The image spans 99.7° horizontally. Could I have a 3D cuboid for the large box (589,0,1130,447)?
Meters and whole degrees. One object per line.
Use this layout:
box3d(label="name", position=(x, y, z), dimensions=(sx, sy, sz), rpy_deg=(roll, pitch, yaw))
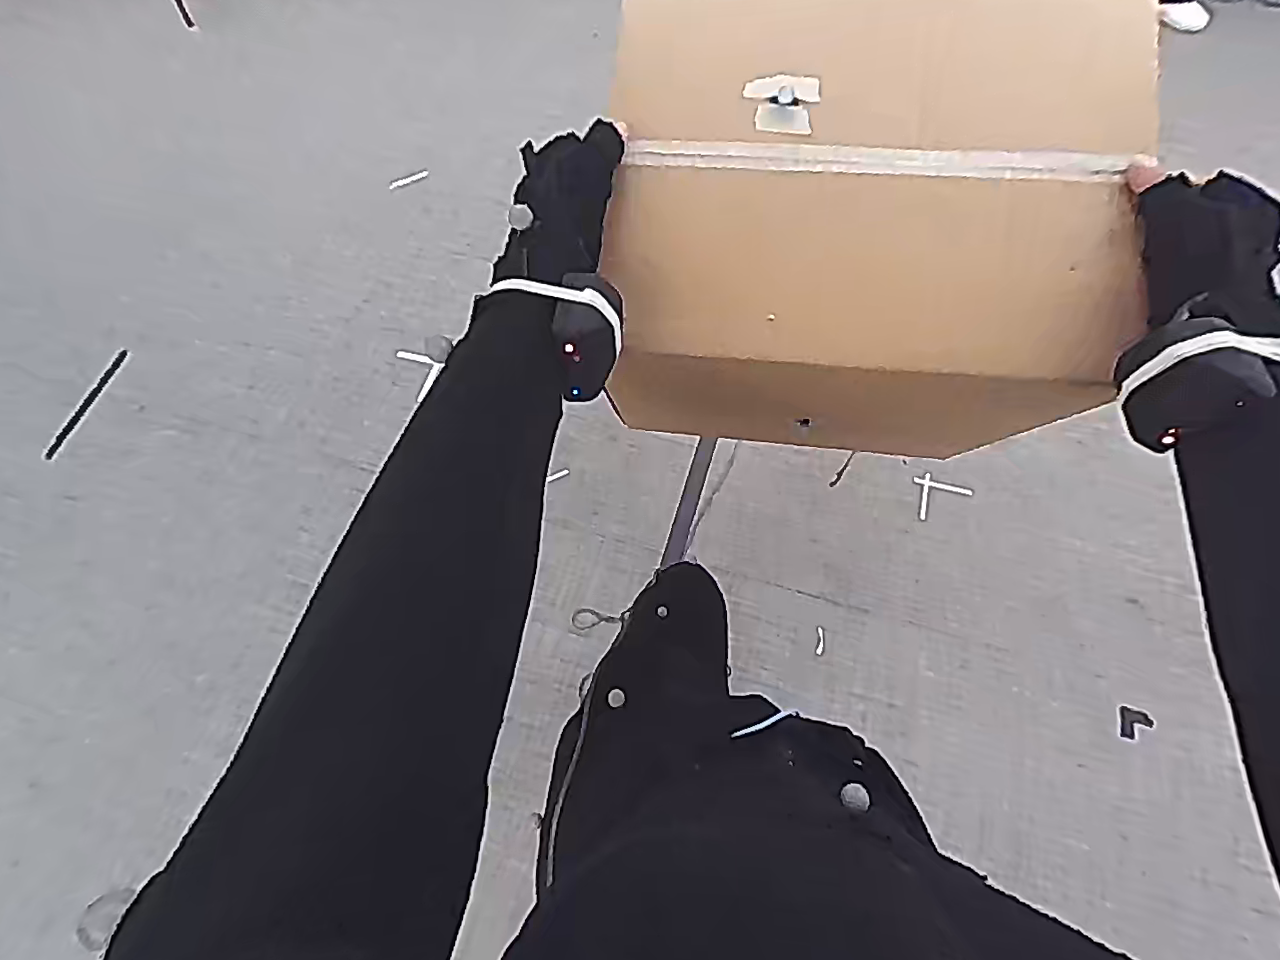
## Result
box3d(label="large box", position=(0.188, -0.222, 0.577), dimensions=(0.408, 0.320, 0.320), rpy_deg=(6, 83, 8))
